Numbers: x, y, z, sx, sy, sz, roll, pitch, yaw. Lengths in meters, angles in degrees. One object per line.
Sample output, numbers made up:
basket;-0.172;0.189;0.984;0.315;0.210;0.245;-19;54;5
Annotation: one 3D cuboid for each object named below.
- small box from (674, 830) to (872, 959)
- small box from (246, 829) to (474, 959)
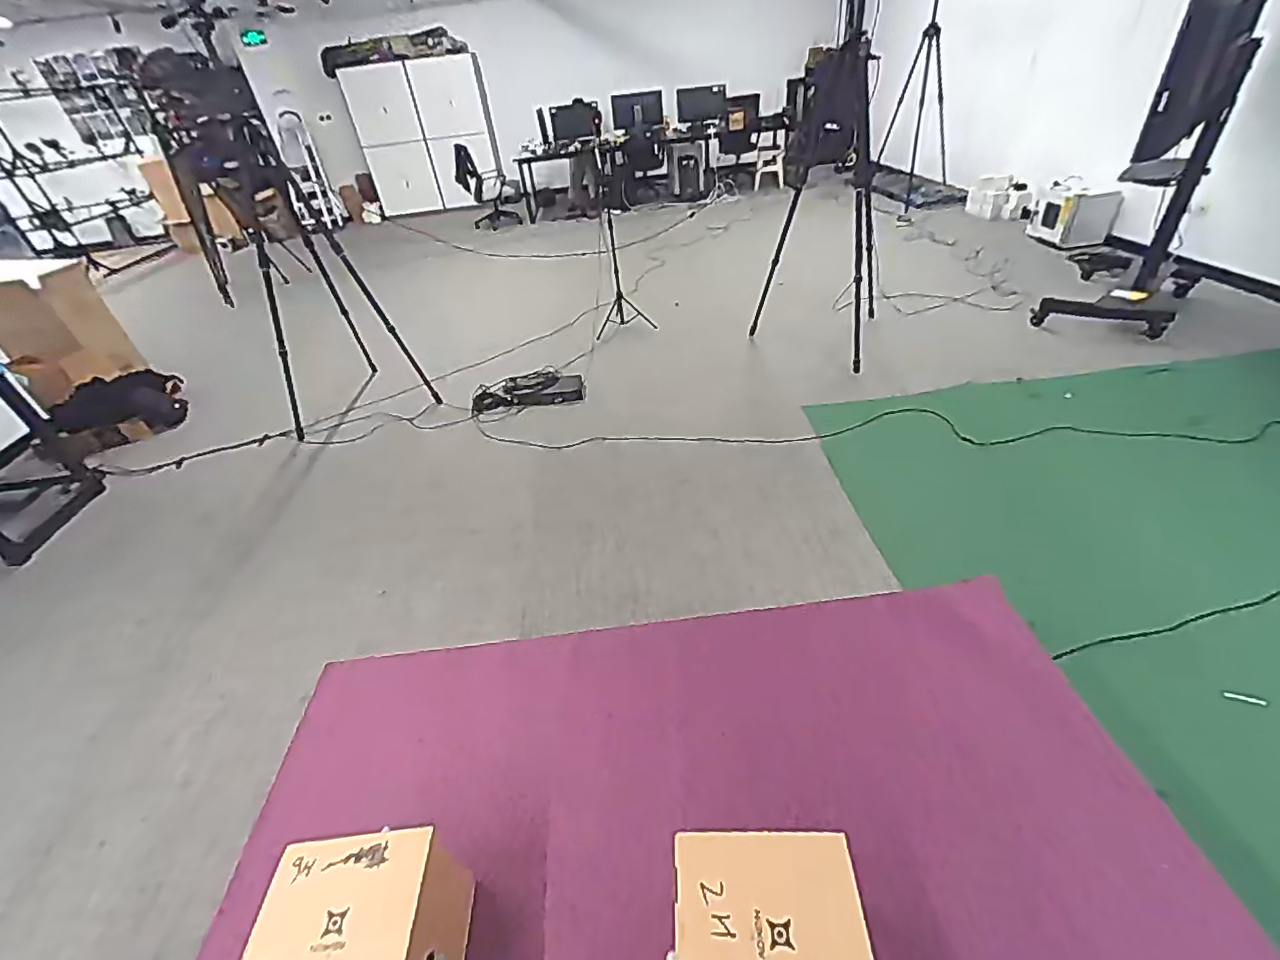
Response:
small box;0.127;0.476;0.543;0.179;0.176;0.168;-4;37;6
small box;-0.291;0.511;0.579;0.168;0.176;0.179;-7;37;0
